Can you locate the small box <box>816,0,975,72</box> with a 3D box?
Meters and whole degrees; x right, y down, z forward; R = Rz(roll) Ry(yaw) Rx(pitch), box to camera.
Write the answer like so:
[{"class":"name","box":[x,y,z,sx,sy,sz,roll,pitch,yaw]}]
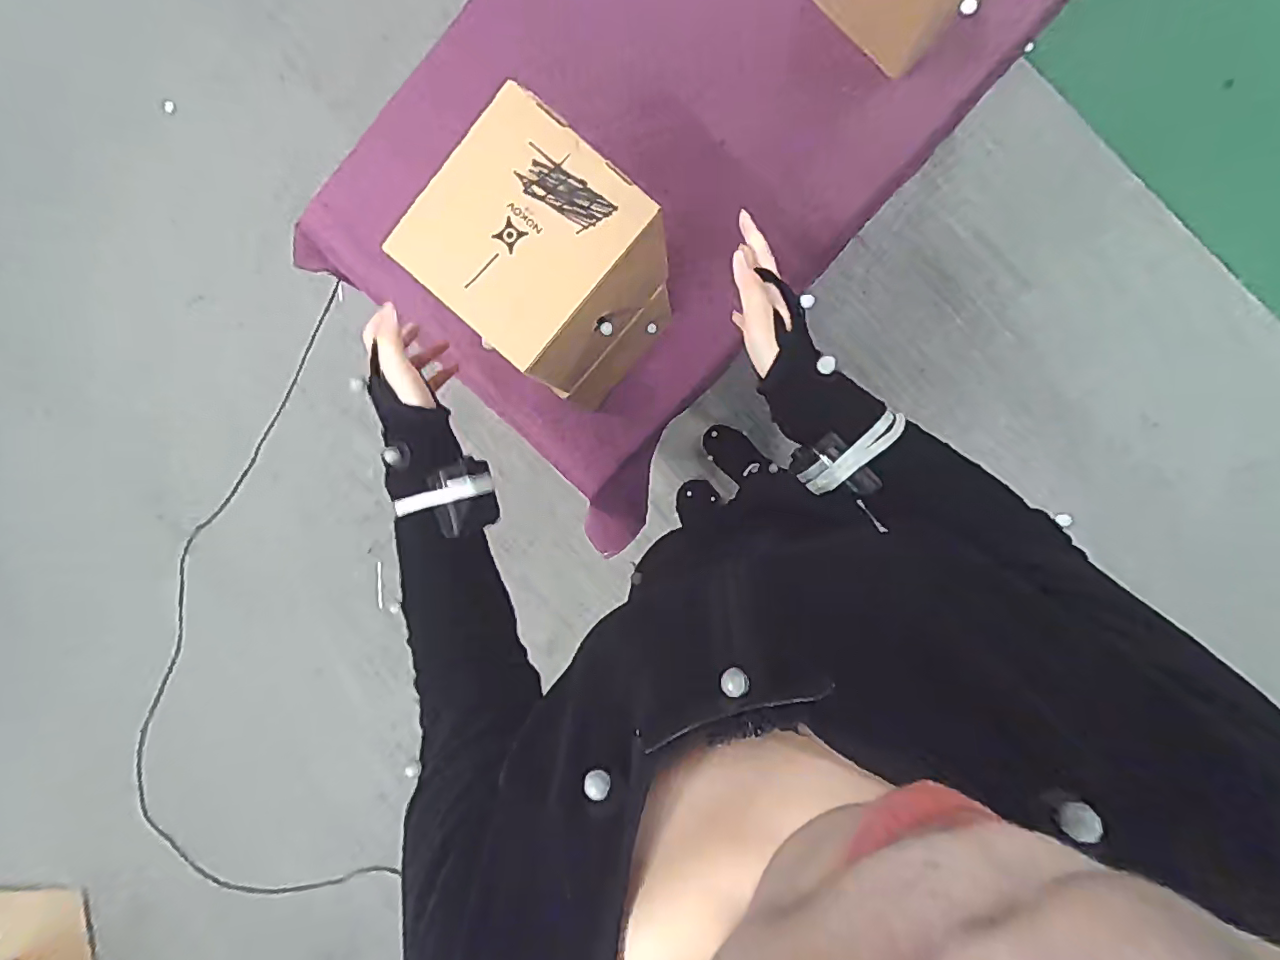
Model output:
[{"class":"small box","box":[0.317,-0.630,0.616,0.168,0.176,0.179,-44,89,8]}]
